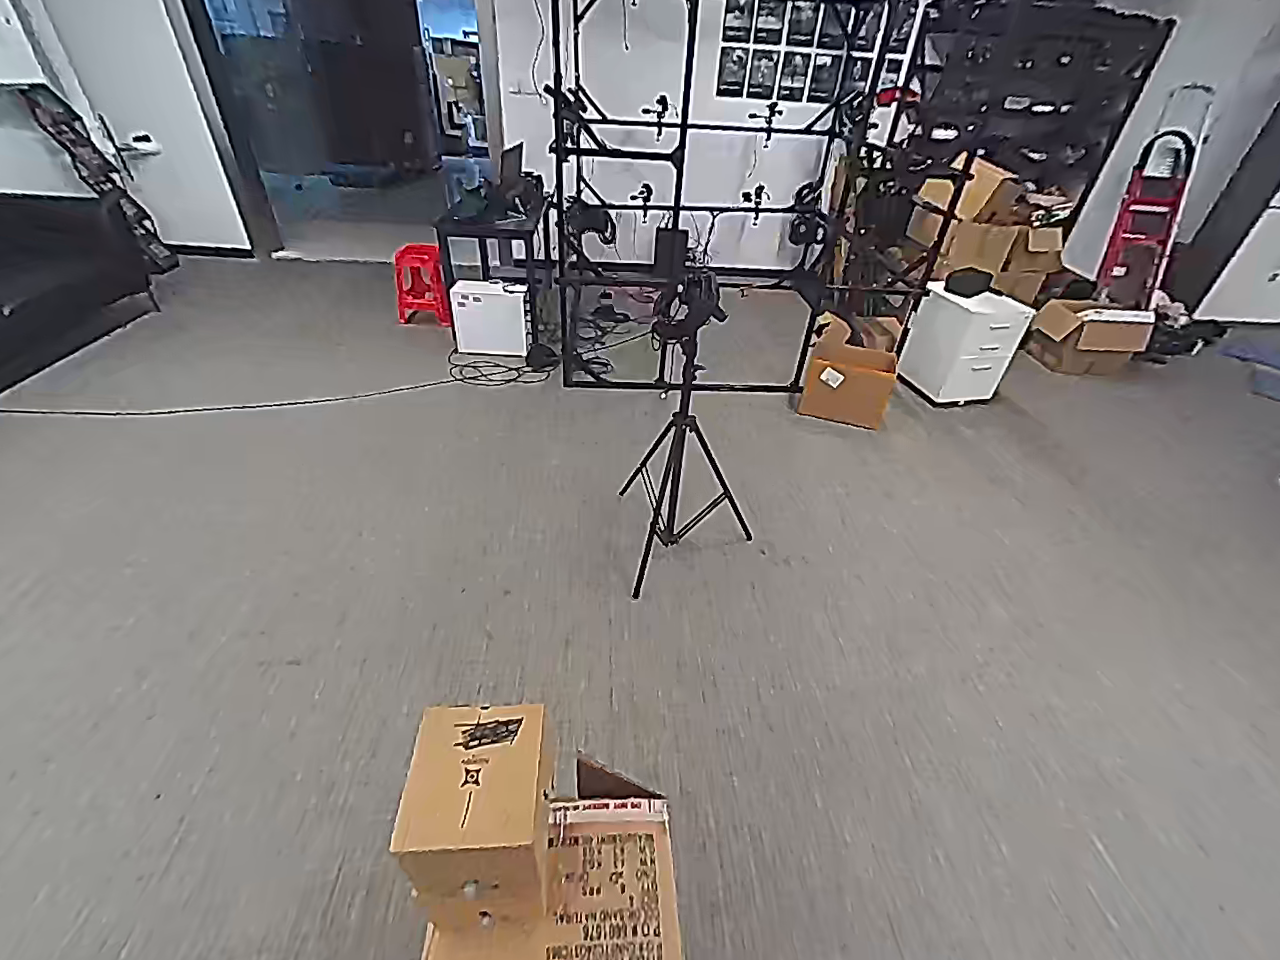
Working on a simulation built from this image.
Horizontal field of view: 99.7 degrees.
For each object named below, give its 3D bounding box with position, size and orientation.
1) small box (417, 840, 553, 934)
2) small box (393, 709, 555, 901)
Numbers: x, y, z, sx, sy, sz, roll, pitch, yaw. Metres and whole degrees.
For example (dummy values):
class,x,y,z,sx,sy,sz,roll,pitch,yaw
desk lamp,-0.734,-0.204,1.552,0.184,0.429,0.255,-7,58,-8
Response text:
class,x,y,z,sx,sy,sz,roll,pitch,yaw
small box,-0.226,0.562,0.834,0.168,0.176,0.179,-3,39,-6
small box,-0.206,0.435,0.730,0.168,0.176,0.179,-1,39,-3
